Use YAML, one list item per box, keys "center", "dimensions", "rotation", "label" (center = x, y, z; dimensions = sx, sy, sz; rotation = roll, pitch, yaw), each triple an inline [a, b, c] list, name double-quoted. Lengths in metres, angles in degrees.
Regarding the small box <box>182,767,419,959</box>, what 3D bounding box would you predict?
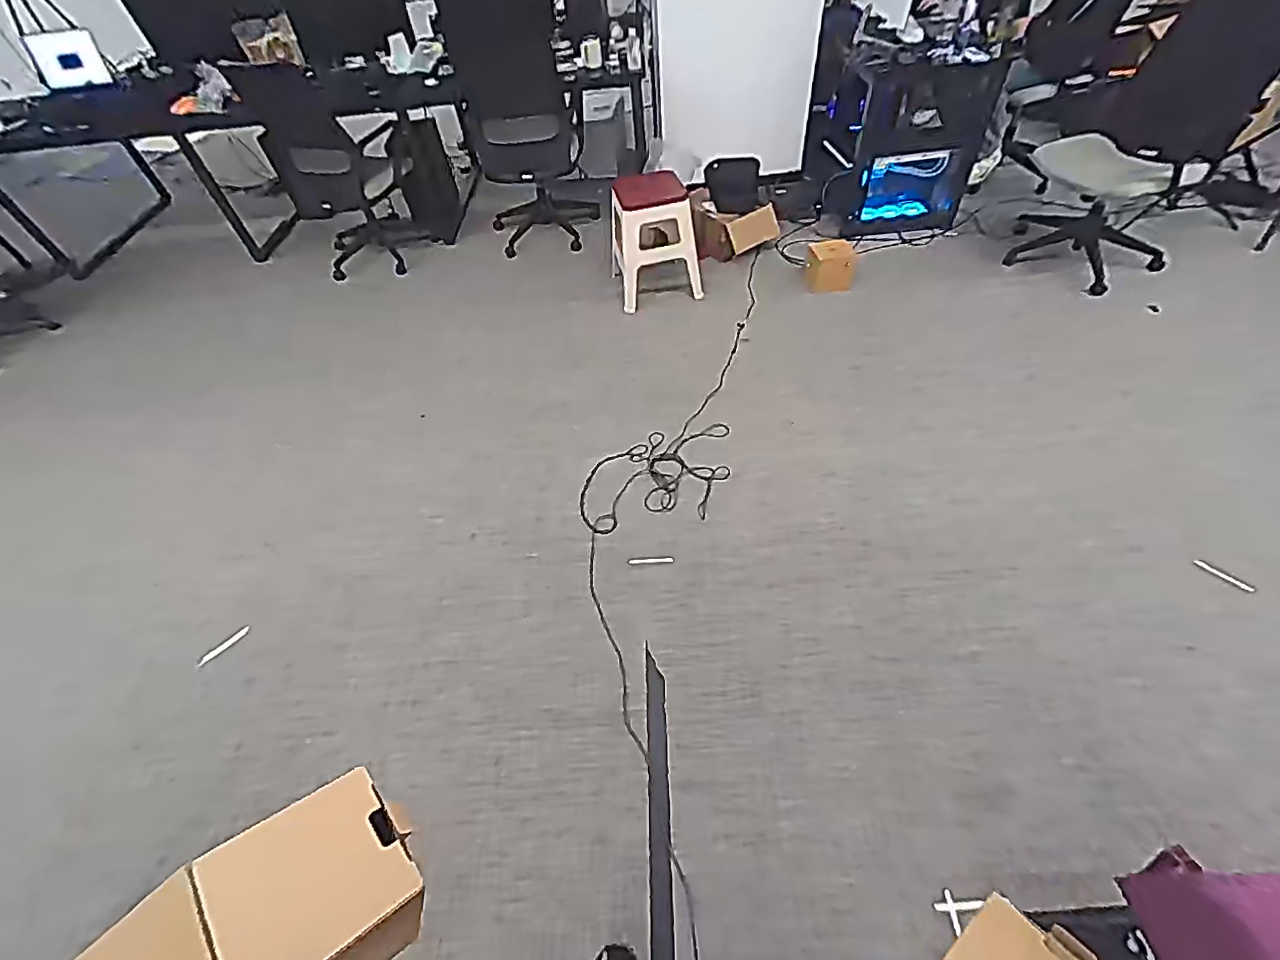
- center: [-0.368, 0.477, 0.603]
  dimensions: [0.179, 0.176, 0.168]
  rotation: [-18, 47, -44]
  label: "small box"
